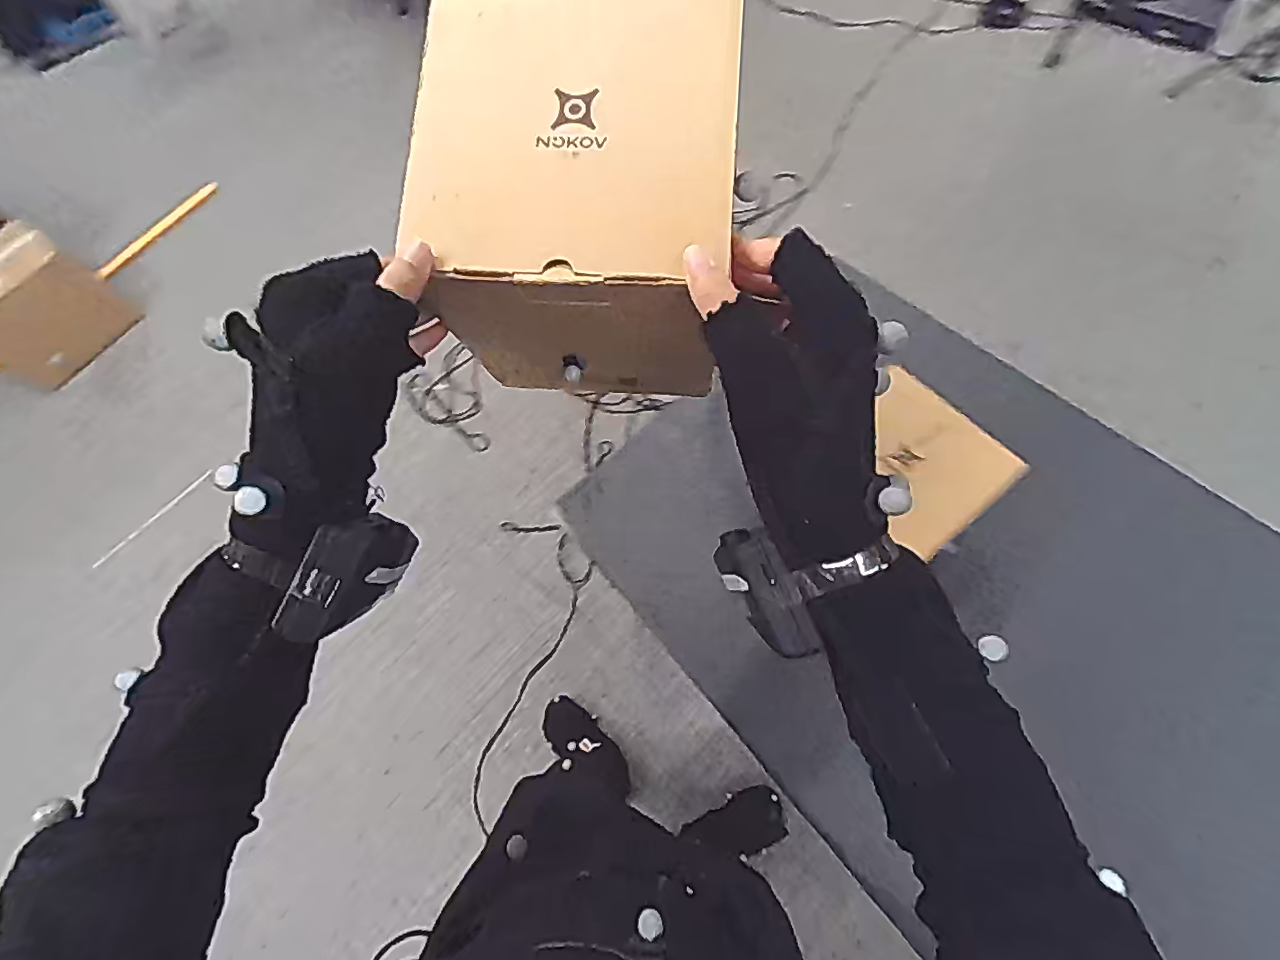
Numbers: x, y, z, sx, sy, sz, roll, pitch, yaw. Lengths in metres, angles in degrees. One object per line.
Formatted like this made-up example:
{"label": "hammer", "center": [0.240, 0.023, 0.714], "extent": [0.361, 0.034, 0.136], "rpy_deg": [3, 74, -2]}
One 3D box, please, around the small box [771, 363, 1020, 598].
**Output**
{"label": "small box", "center": [0.267, 0.011, 0.617], "extent": [0.179, 0.176, 0.168], "rpy_deg": [-37, 68, -10]}
